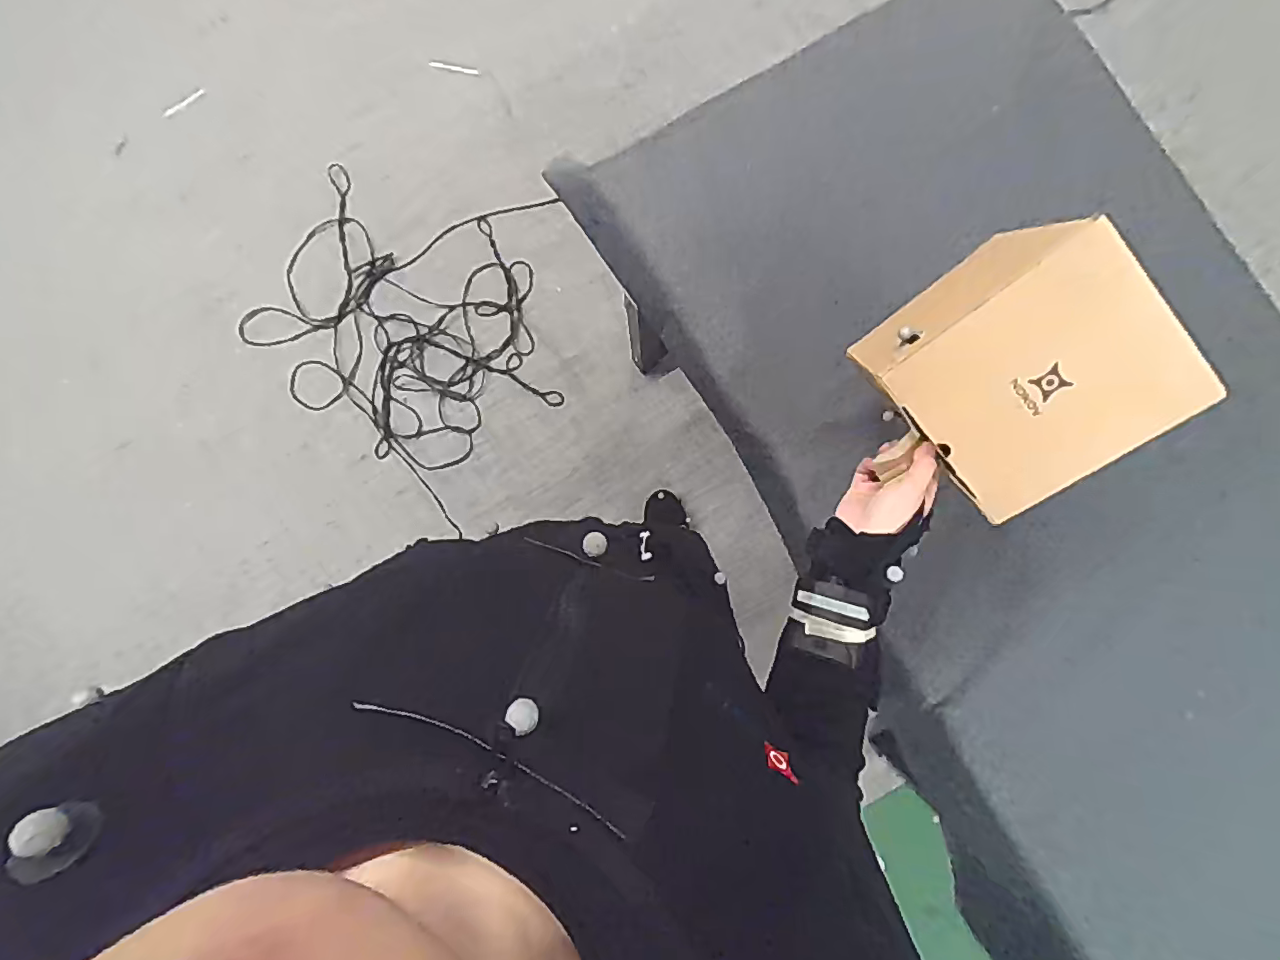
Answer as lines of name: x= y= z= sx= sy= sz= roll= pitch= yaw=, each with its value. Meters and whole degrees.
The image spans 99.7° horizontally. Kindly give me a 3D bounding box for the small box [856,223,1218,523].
small box: x=0.325 y=-0.100 z=0.489 sx=0.179 sy=0.176 sz=0.168 roll=-40 pitch=98 yaw=22
